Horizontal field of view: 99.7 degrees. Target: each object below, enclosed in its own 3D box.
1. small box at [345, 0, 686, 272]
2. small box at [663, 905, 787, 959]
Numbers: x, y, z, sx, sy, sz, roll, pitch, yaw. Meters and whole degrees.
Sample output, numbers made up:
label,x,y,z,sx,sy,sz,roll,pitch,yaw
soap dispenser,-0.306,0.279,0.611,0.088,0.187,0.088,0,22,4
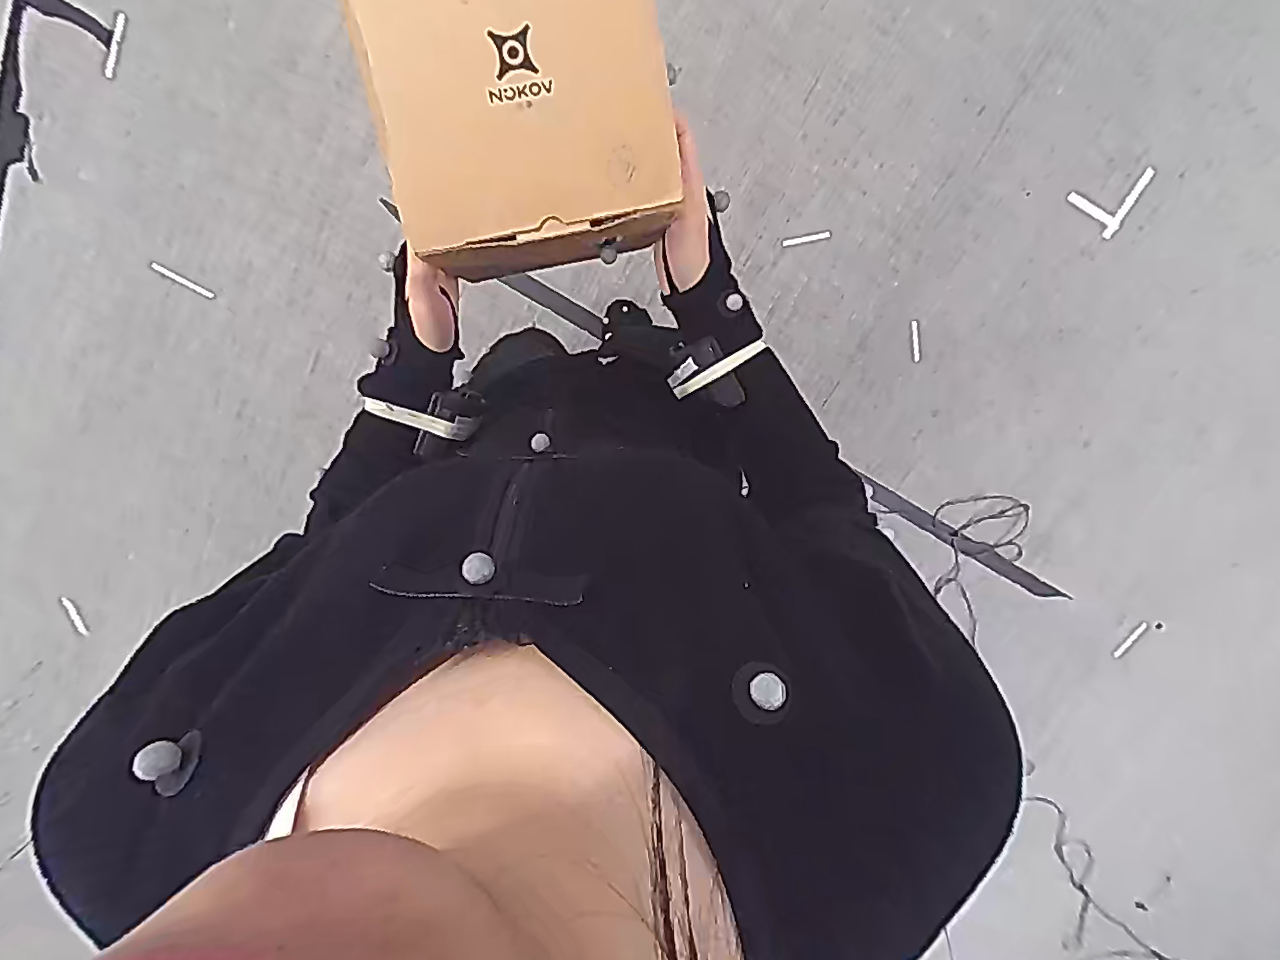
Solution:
label,x,y,z,sx,sy,sz,roll,pitch,yaw
small box,-0.075,-0.249,0.371,0.168,0.176,0.179,-13,106,-4
small box,0.149,0.890,0.937,0.179,0.176,0.168,25,106,-8
